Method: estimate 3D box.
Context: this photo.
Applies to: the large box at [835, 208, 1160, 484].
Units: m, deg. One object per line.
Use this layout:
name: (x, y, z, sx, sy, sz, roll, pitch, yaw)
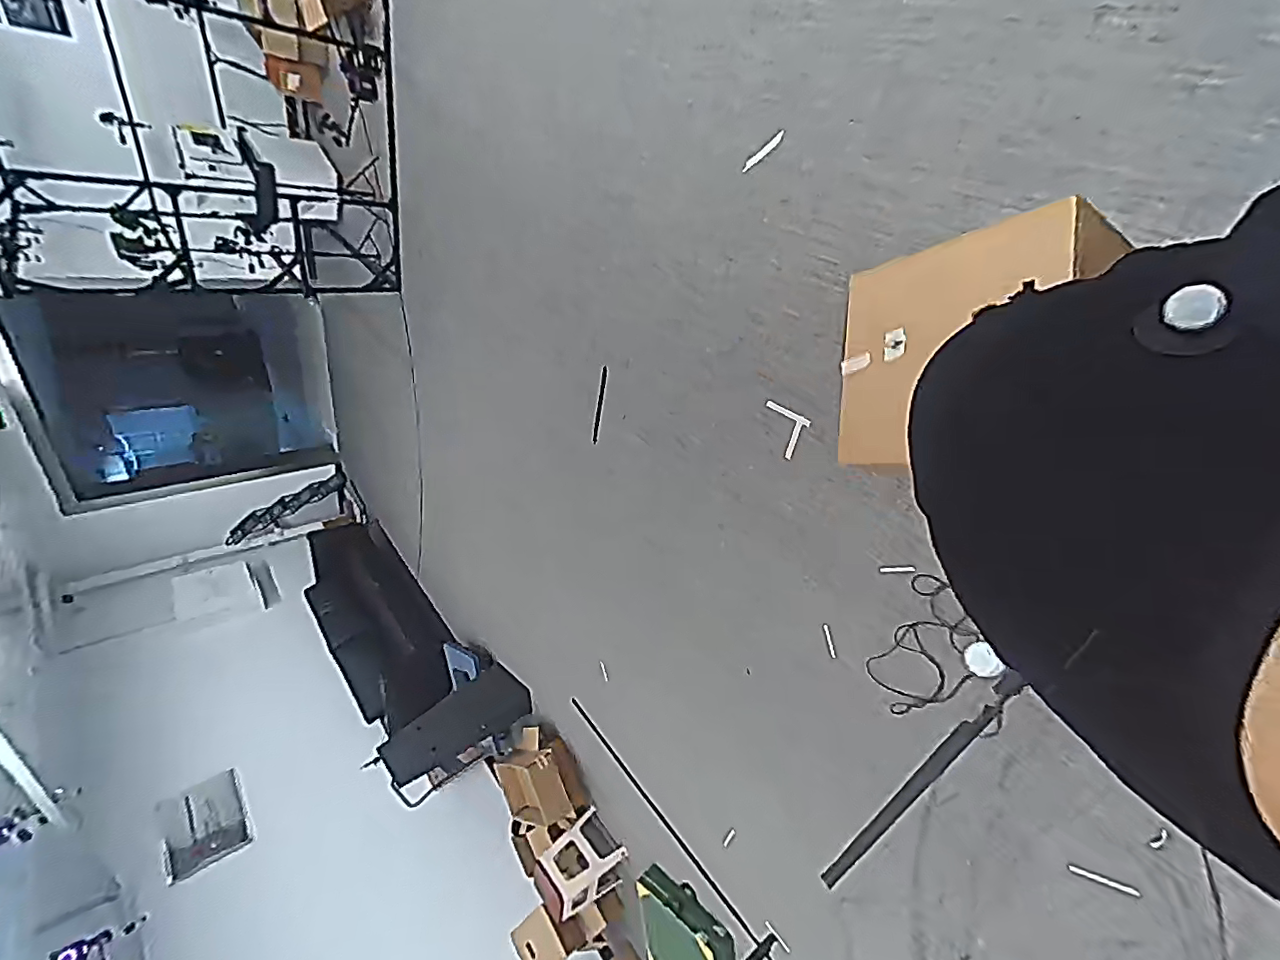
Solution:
large box: (0.570, -0.165, 0.876, 0.320, 0.408, 0.320, 4, 87, 56)
